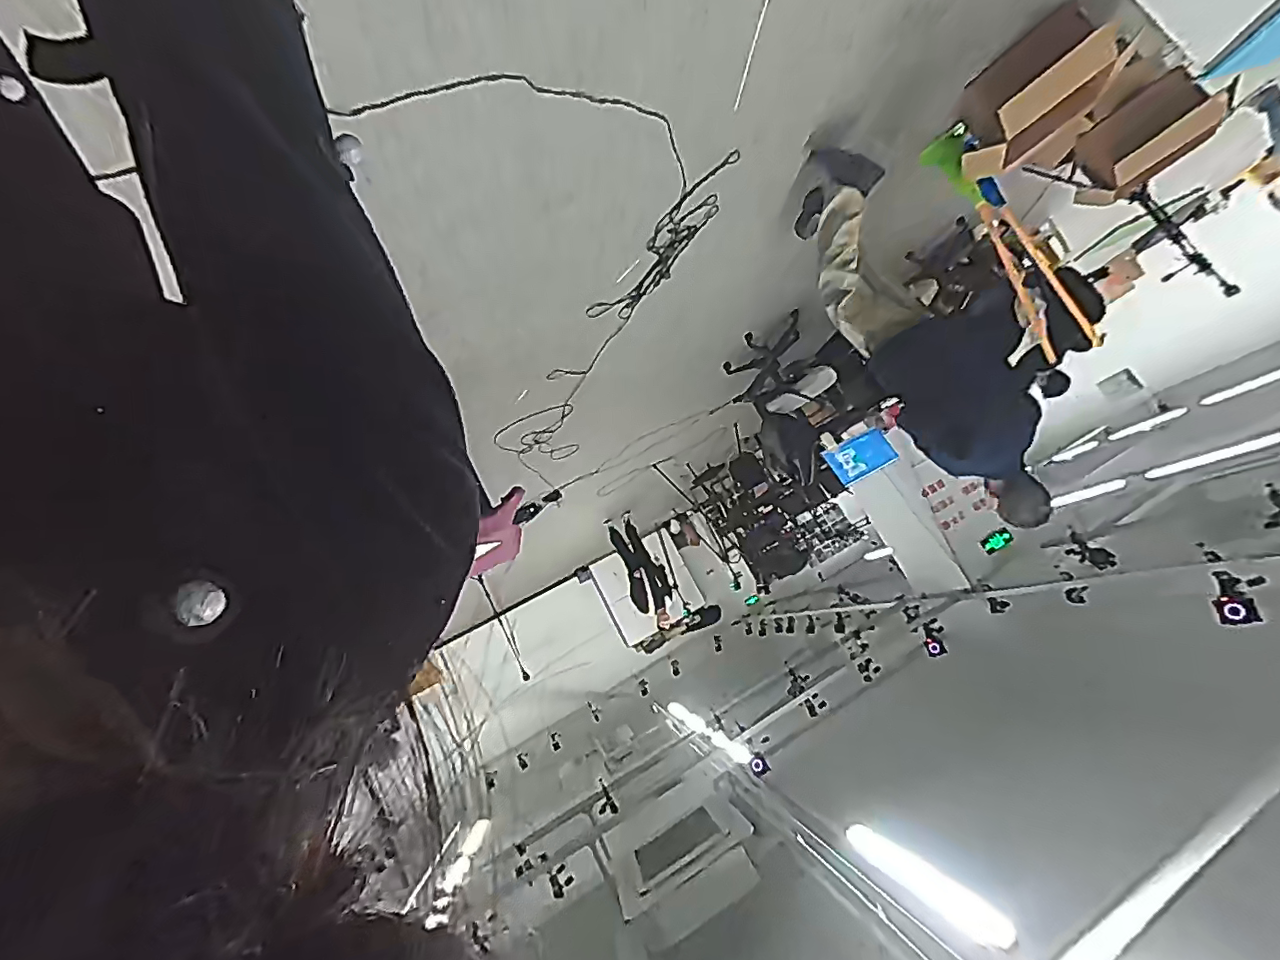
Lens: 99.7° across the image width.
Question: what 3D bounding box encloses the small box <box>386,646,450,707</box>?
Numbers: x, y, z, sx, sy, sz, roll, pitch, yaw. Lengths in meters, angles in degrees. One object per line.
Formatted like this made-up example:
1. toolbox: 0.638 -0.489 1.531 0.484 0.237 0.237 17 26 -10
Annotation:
1. small box: -0.873 0.770 2.127 0.168 0.176 0.179 -26 167 -18
